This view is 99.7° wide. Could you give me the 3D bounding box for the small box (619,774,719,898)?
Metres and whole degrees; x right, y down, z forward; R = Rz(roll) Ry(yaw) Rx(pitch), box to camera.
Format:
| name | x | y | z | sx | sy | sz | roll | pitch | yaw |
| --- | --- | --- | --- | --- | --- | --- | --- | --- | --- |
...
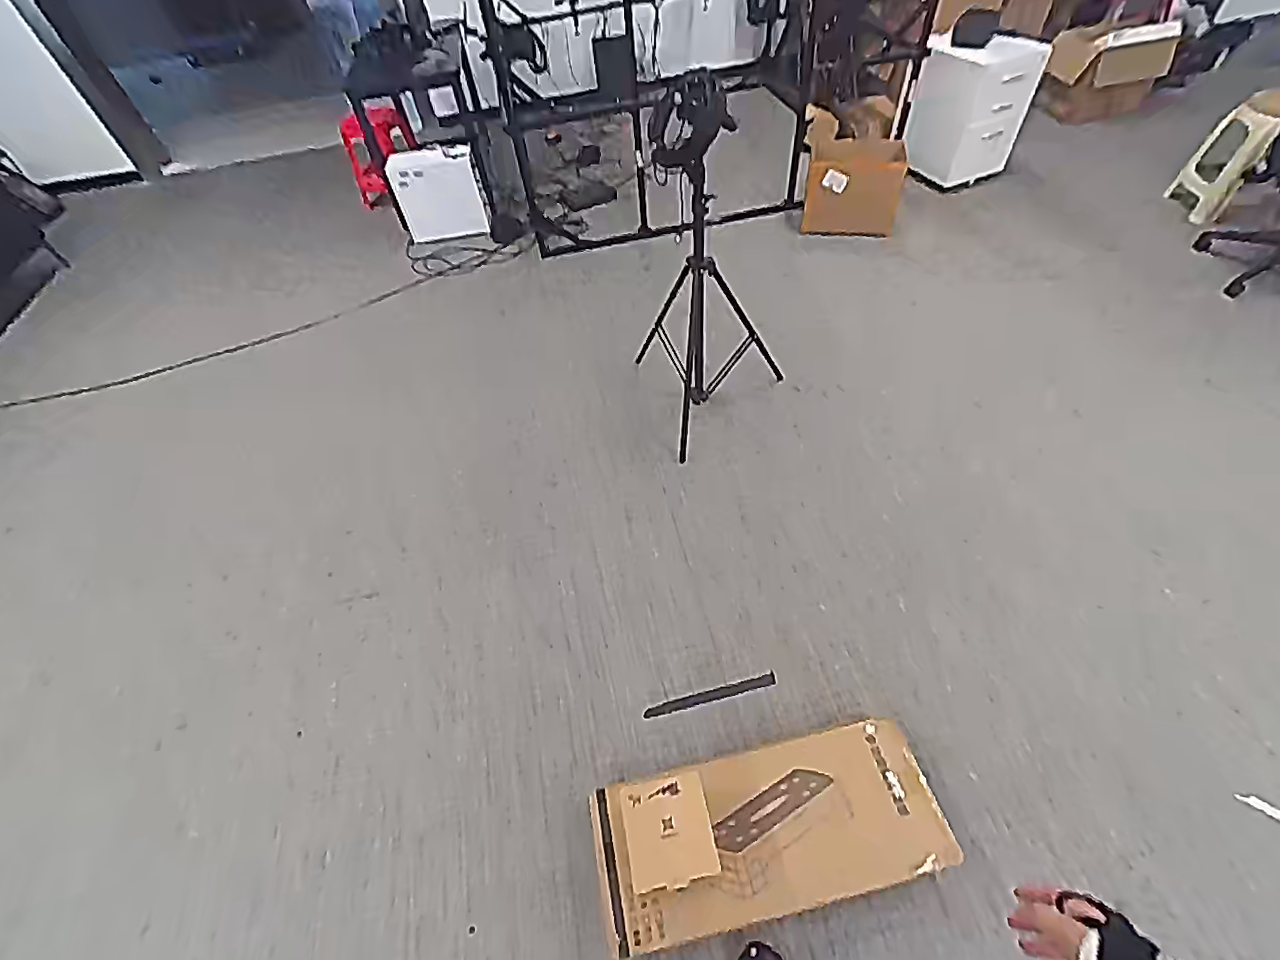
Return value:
| name | x | y | z | sx | sy | sz | roll | pitch | yaw |
| --- | --- | --- | --- | --- | --- | --- | --- | --- | --- |
| small box | 0.059 | 0.720 | 1.091 | 0.168 | 0.176 | 0.179 | -11 | 51 | -4 |
